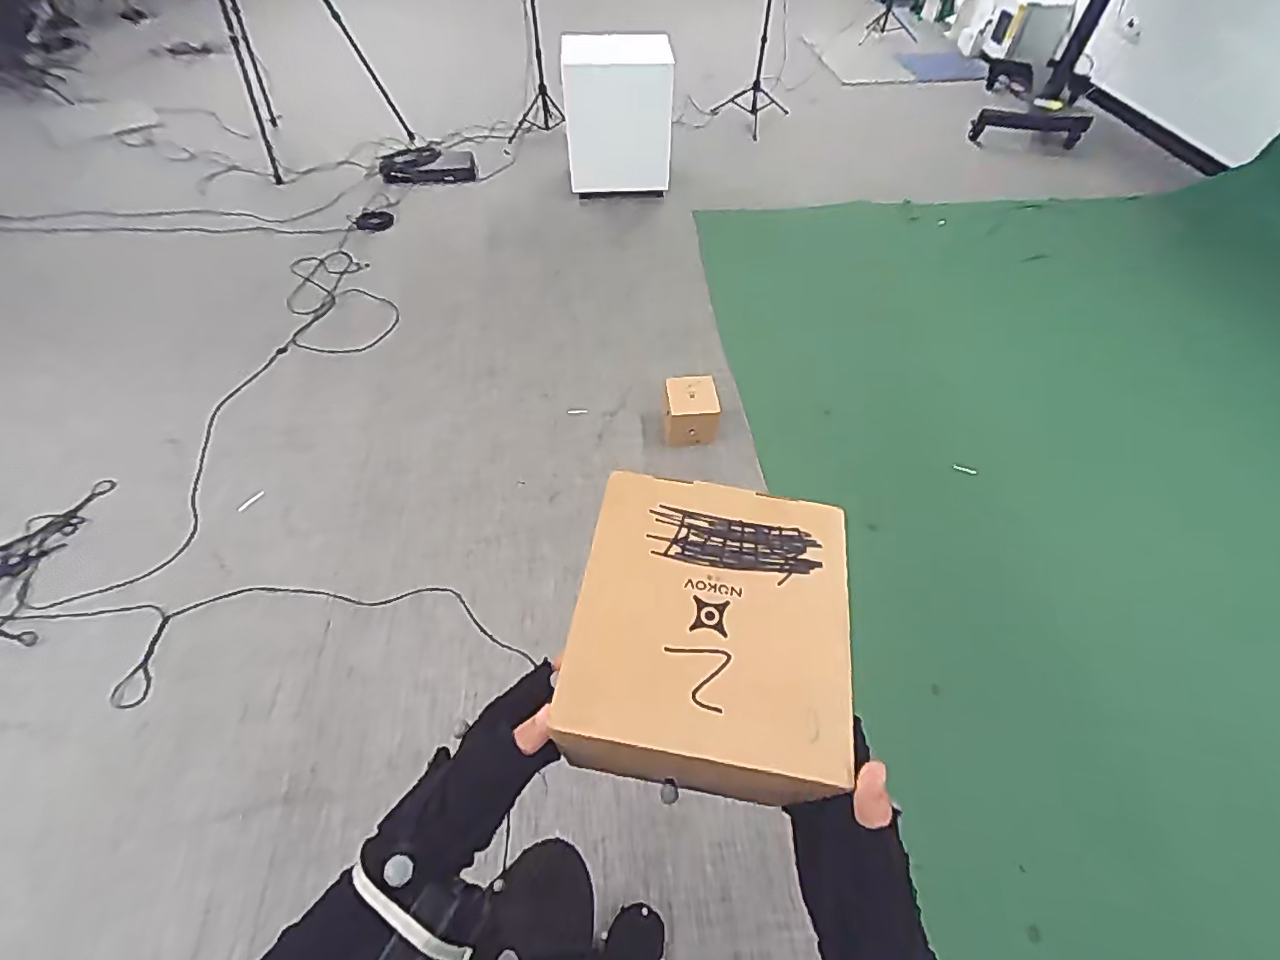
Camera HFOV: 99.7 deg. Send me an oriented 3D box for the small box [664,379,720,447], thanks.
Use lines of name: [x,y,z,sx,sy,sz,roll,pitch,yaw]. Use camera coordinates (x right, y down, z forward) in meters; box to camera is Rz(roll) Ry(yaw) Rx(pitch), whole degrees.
small box: [0.175,-0.227,1.874,0.168,0.176,0.179,-4,54,-5]
